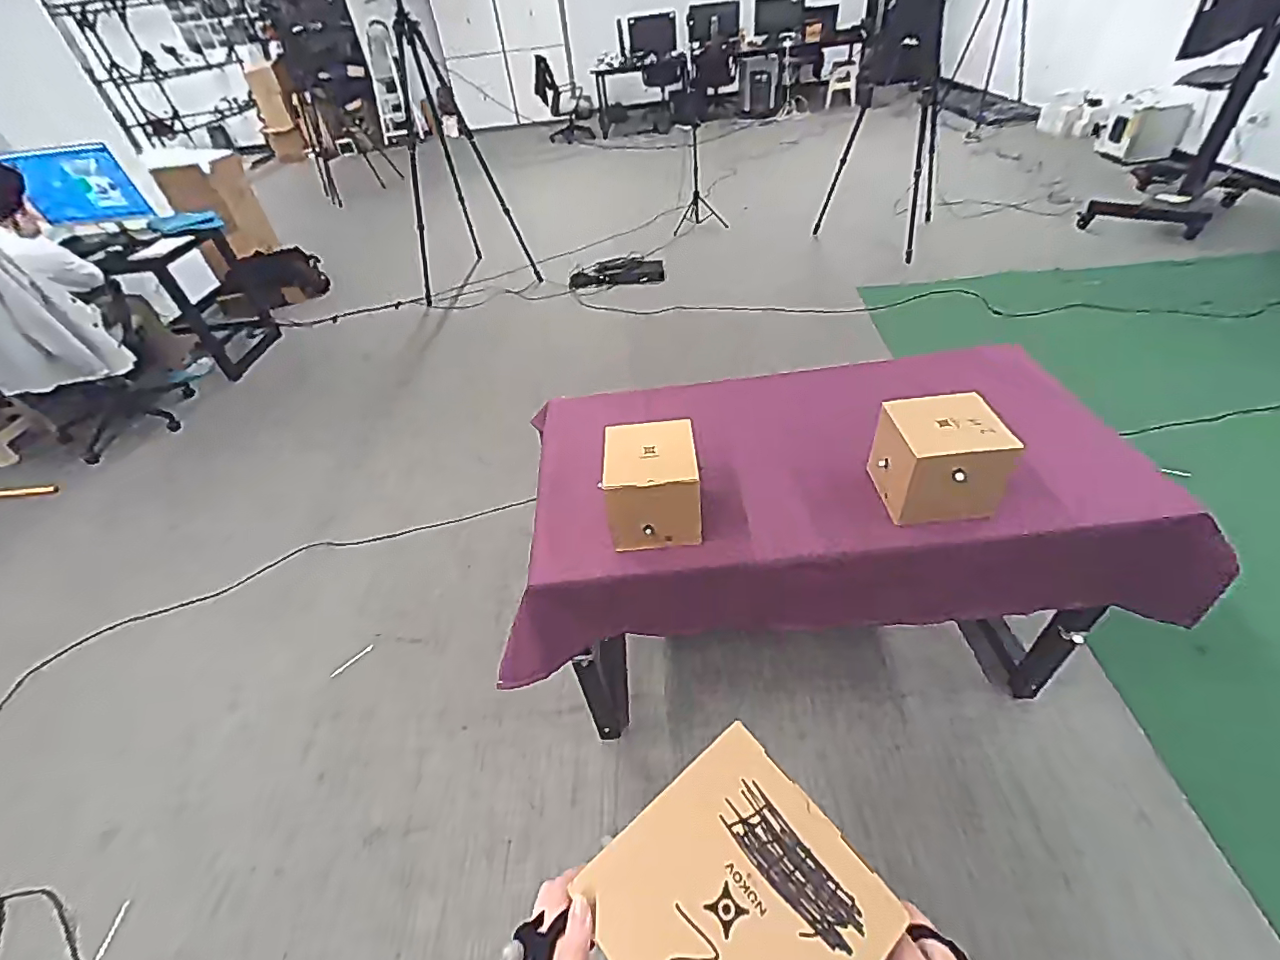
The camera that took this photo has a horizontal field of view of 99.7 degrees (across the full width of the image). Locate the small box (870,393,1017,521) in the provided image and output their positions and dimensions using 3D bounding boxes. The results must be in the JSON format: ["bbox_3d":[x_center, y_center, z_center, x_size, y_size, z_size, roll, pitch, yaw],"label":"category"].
[{"bbox_3d":[0.540,-0.039,0.999,0.179,0.176,0.168,-5,43,3],"label":"small box"}]

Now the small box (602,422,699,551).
[{"bbox_3d":[0.022,0.012,1.027,0.168,0.176,0.179,-5,43,2],"label":"small box"}]
